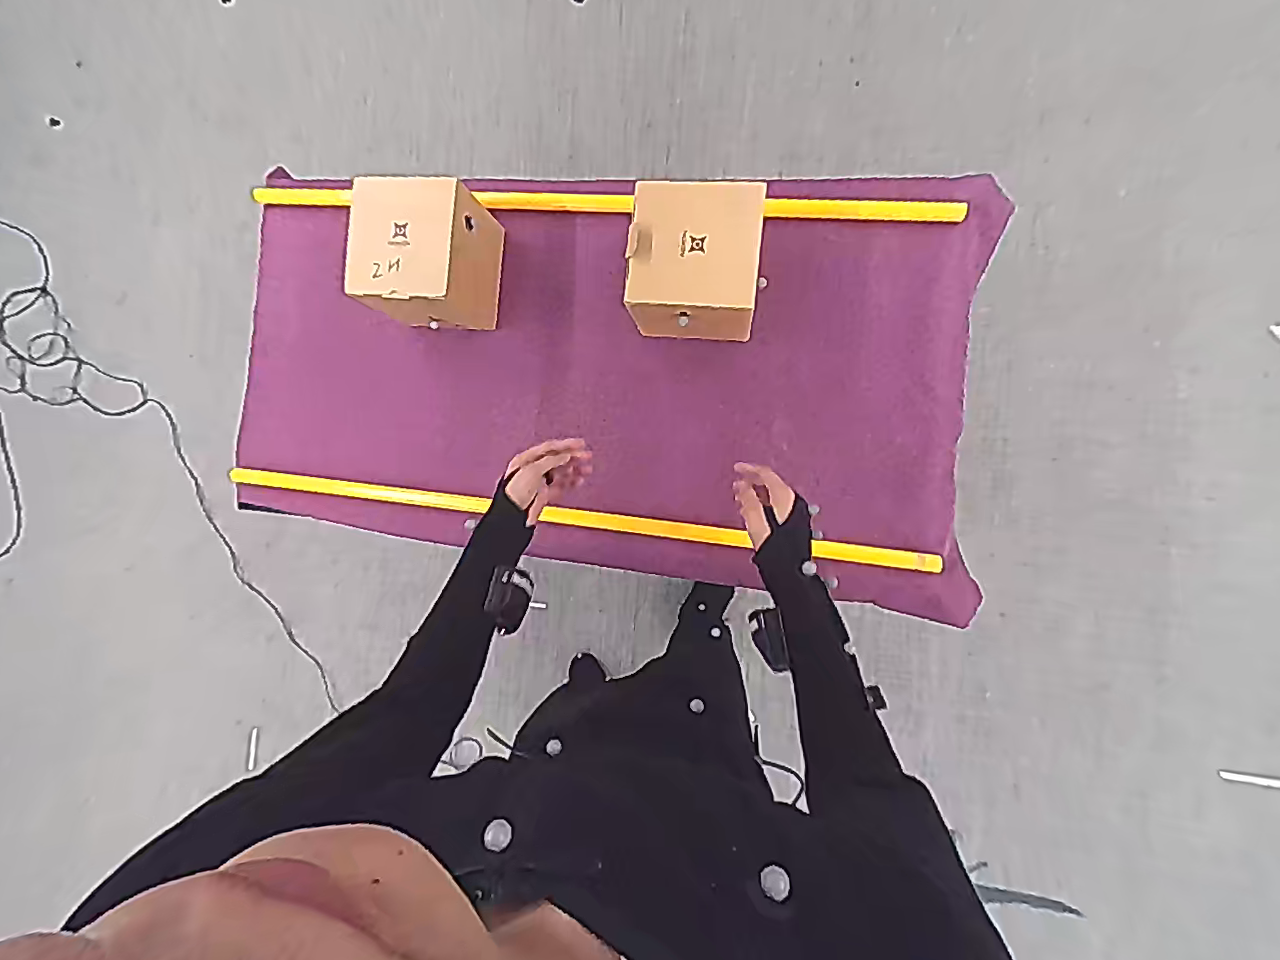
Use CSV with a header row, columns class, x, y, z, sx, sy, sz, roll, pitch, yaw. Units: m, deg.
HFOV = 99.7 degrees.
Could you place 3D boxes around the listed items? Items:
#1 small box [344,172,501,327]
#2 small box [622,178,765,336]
class,x,y,z,sx,sy,sz,roll,pitch,yaw
small box,-0.334,-0.357,0.859,0.168,0.176,0.179,6,92,10
small box,0.082,-0.315,0.792,0.179,0.176,0.168,6,91,10
